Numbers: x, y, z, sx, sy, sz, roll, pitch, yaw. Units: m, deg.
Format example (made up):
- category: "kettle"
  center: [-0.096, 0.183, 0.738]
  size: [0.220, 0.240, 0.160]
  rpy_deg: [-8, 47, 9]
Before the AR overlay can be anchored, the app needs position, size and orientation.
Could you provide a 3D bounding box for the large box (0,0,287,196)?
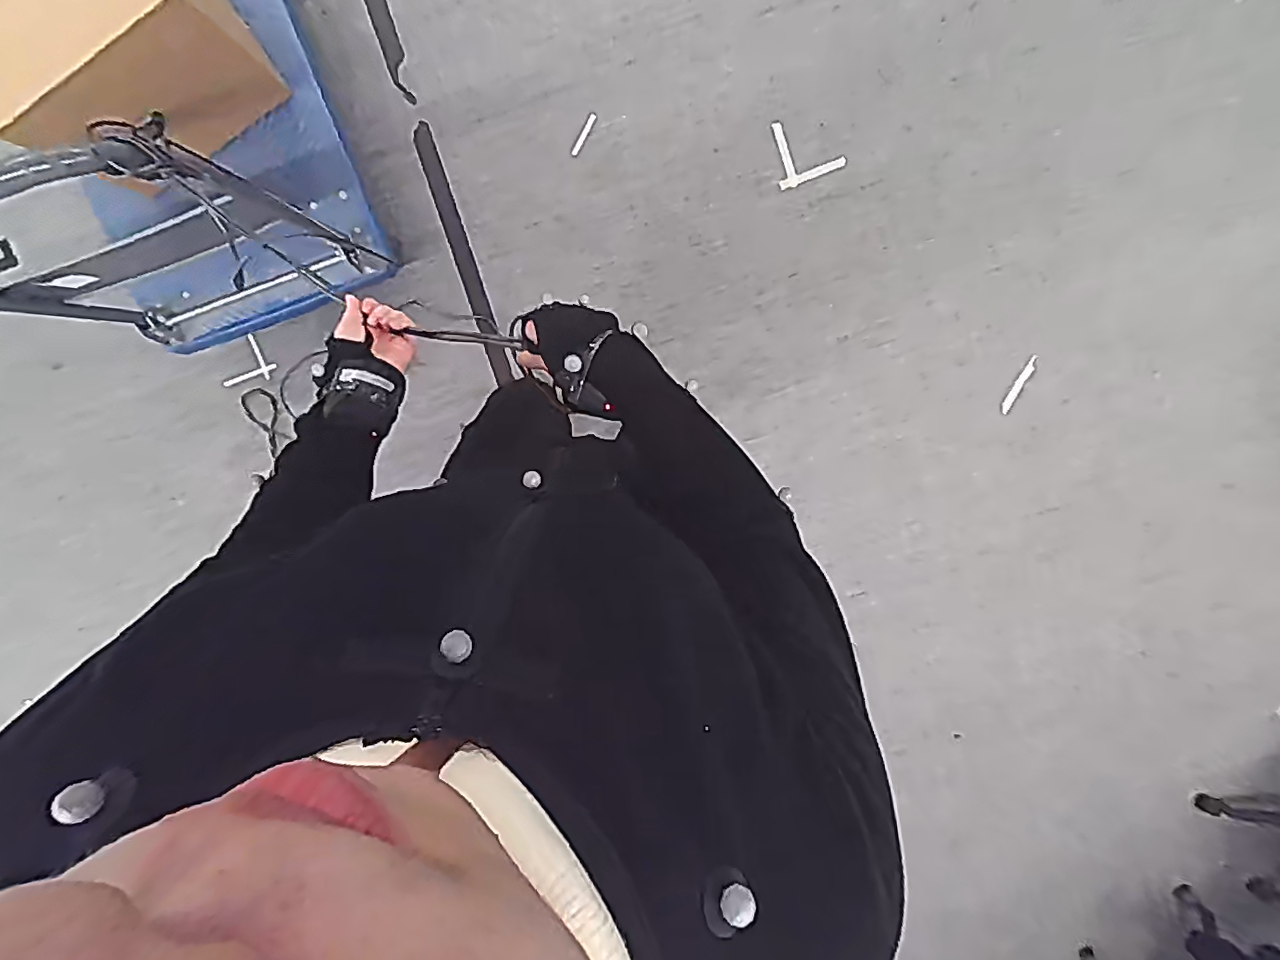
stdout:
- category: "large box"
  center: [-0.998, -0.830, 1.012]
  size: [0.408, 0.320, 0.320]
  rpy_deg: [-33, 98, 3]
